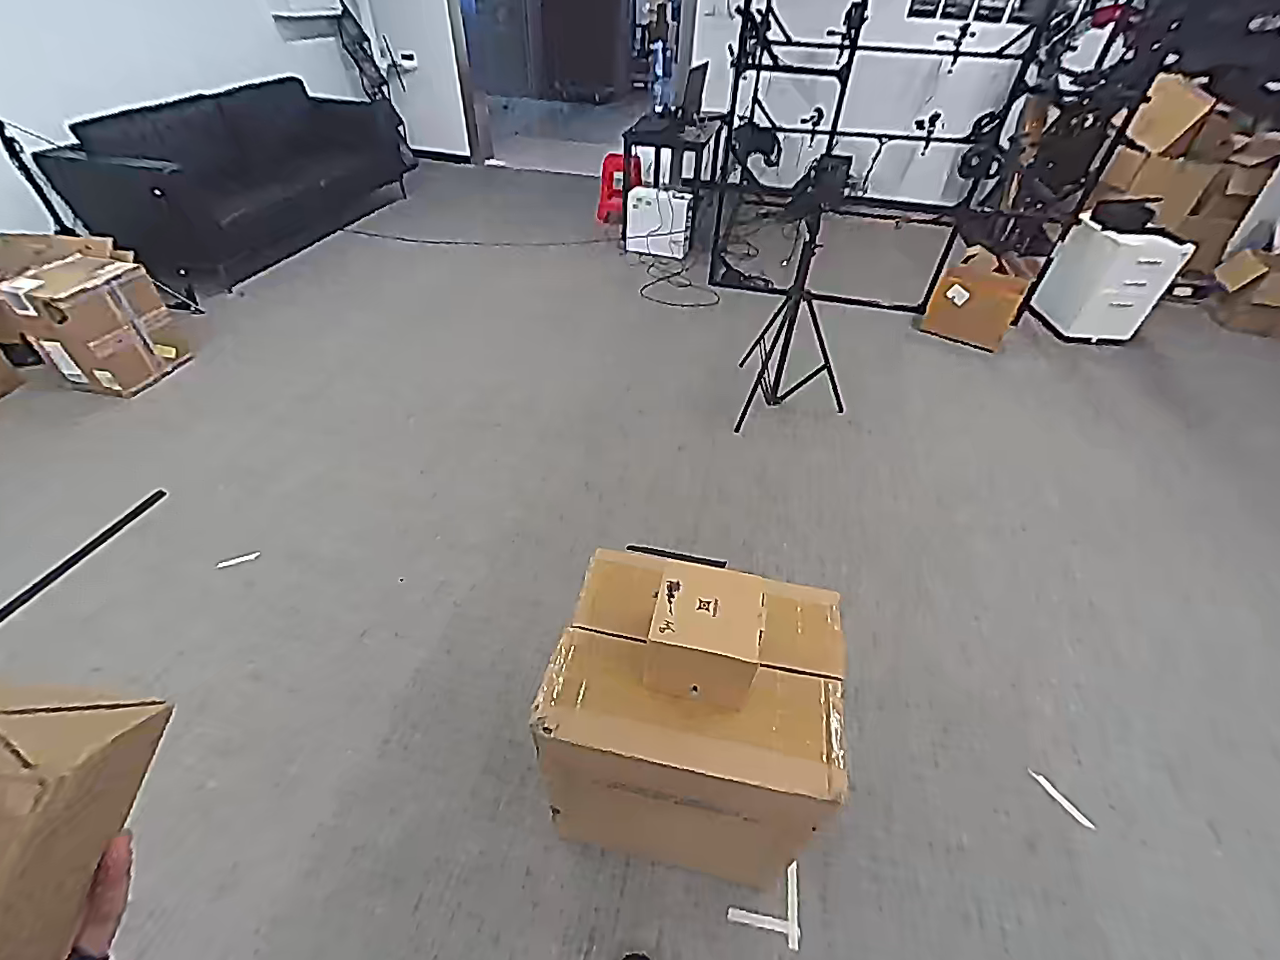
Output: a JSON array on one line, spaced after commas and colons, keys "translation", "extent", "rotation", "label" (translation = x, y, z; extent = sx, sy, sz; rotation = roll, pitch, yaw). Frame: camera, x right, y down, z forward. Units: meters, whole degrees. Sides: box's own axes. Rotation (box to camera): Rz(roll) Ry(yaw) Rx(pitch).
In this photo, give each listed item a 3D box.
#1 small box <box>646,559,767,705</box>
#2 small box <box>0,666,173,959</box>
[{"translation": [0.113, 0.266, 0.937], "extent": [0.179, 0.176, 0.168], "rotation": [10, 44, 8], "label": "small box"}, {"translation": [-0.310, 0.155, 0.189], "extent": [0.168, 0.179, 0.176], "rotation": [18, 68, -25], "label": "small box"}]
